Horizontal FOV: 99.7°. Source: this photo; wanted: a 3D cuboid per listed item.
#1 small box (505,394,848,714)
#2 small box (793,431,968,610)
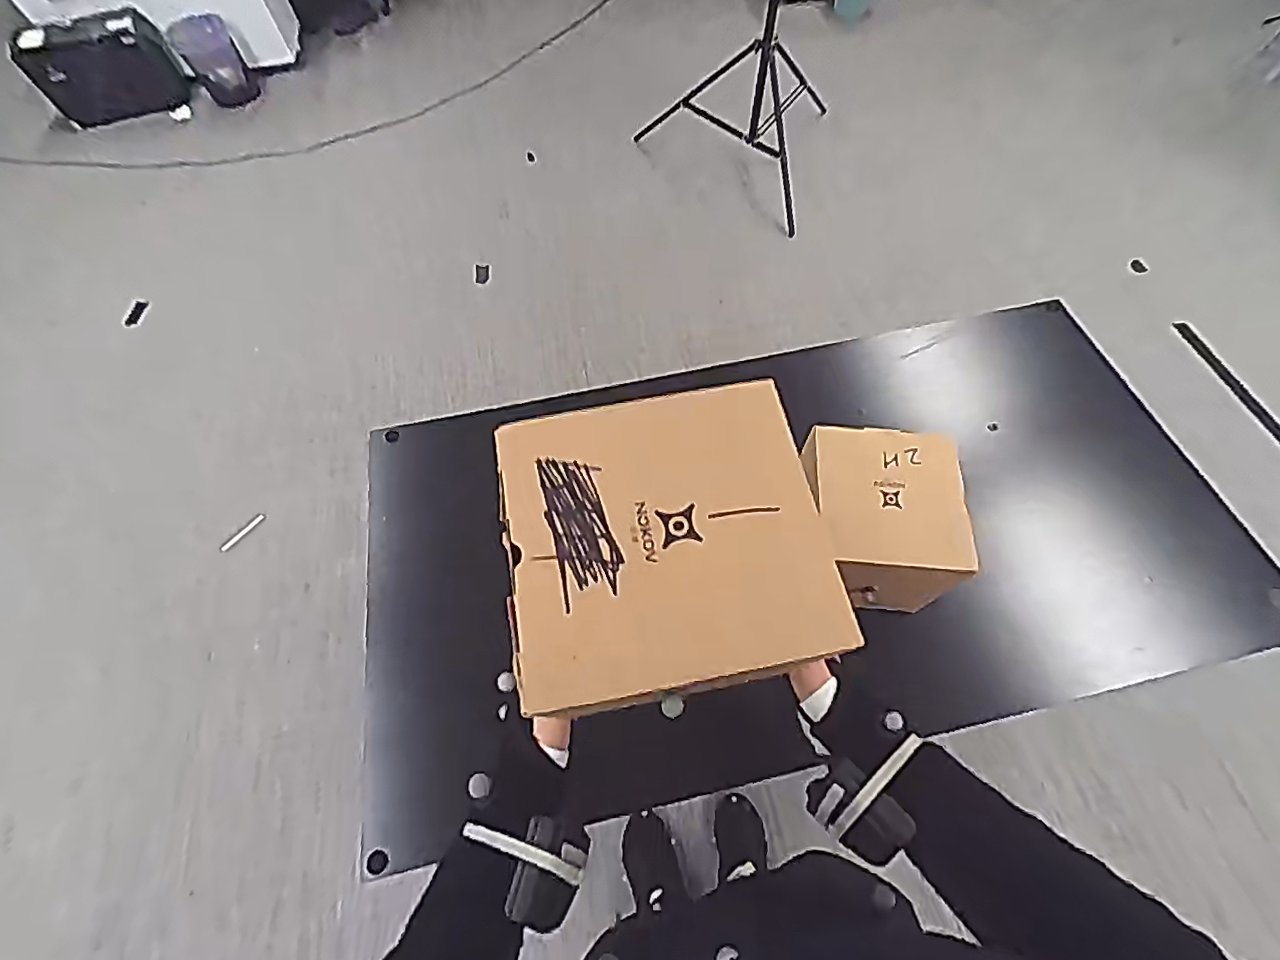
[{"bbox_3d":[0.015,0.065,0.386,0.179,0.176,0.168,-10,66,-4],"label":"small box"},{"bbox_3d":[0.284,0.059,0.695,0.168,0.176,0.179,5,61,4],"label":"small box"}]
